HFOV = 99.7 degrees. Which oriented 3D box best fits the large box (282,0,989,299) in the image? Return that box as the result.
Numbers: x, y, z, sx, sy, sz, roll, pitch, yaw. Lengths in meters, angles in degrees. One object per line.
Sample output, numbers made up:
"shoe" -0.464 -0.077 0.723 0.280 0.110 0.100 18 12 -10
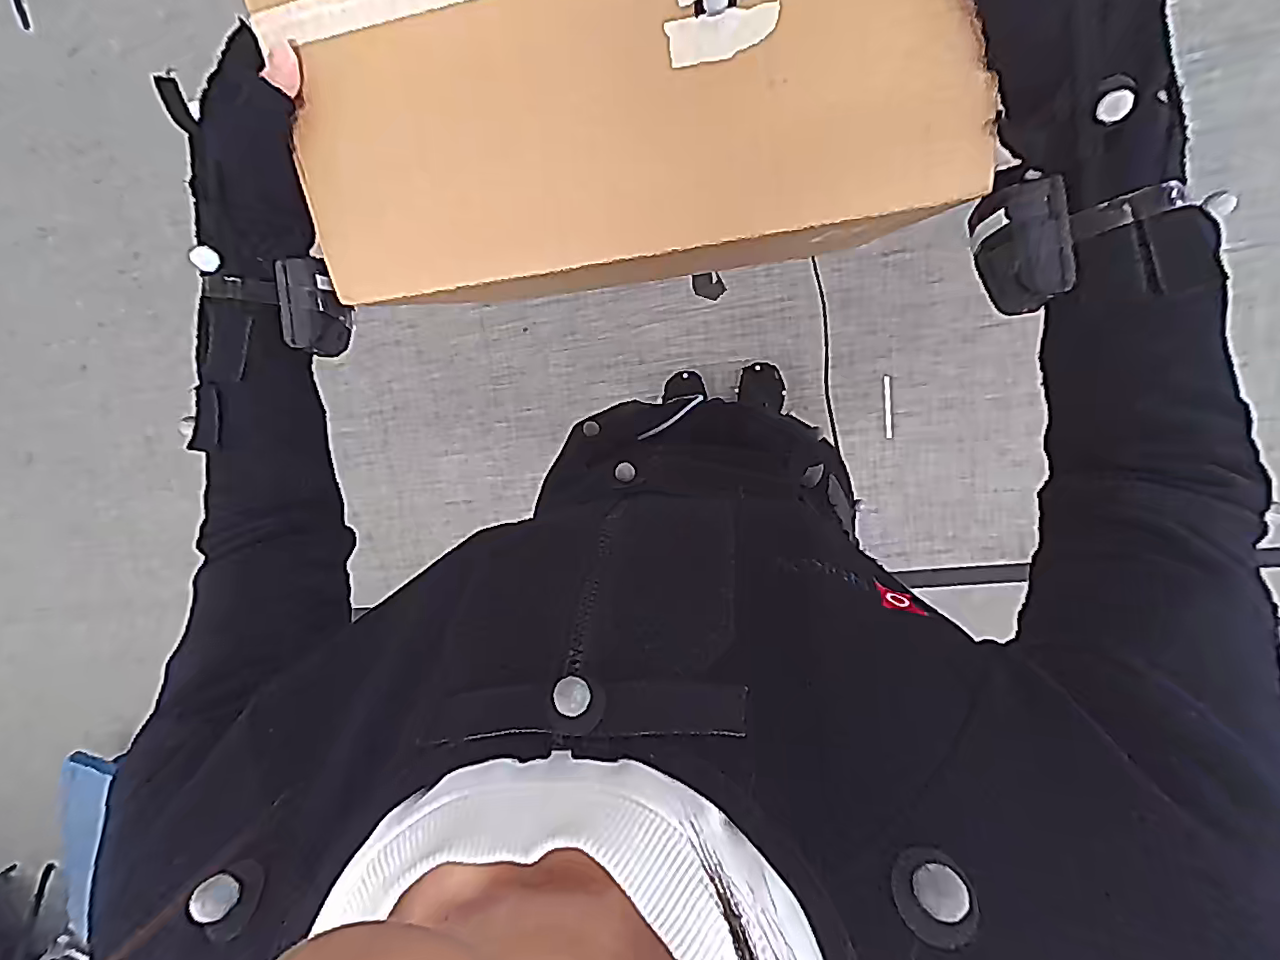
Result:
"large box" -0.002 -0.340 0.438 0.408 0.320 0.320 -6 108 10
